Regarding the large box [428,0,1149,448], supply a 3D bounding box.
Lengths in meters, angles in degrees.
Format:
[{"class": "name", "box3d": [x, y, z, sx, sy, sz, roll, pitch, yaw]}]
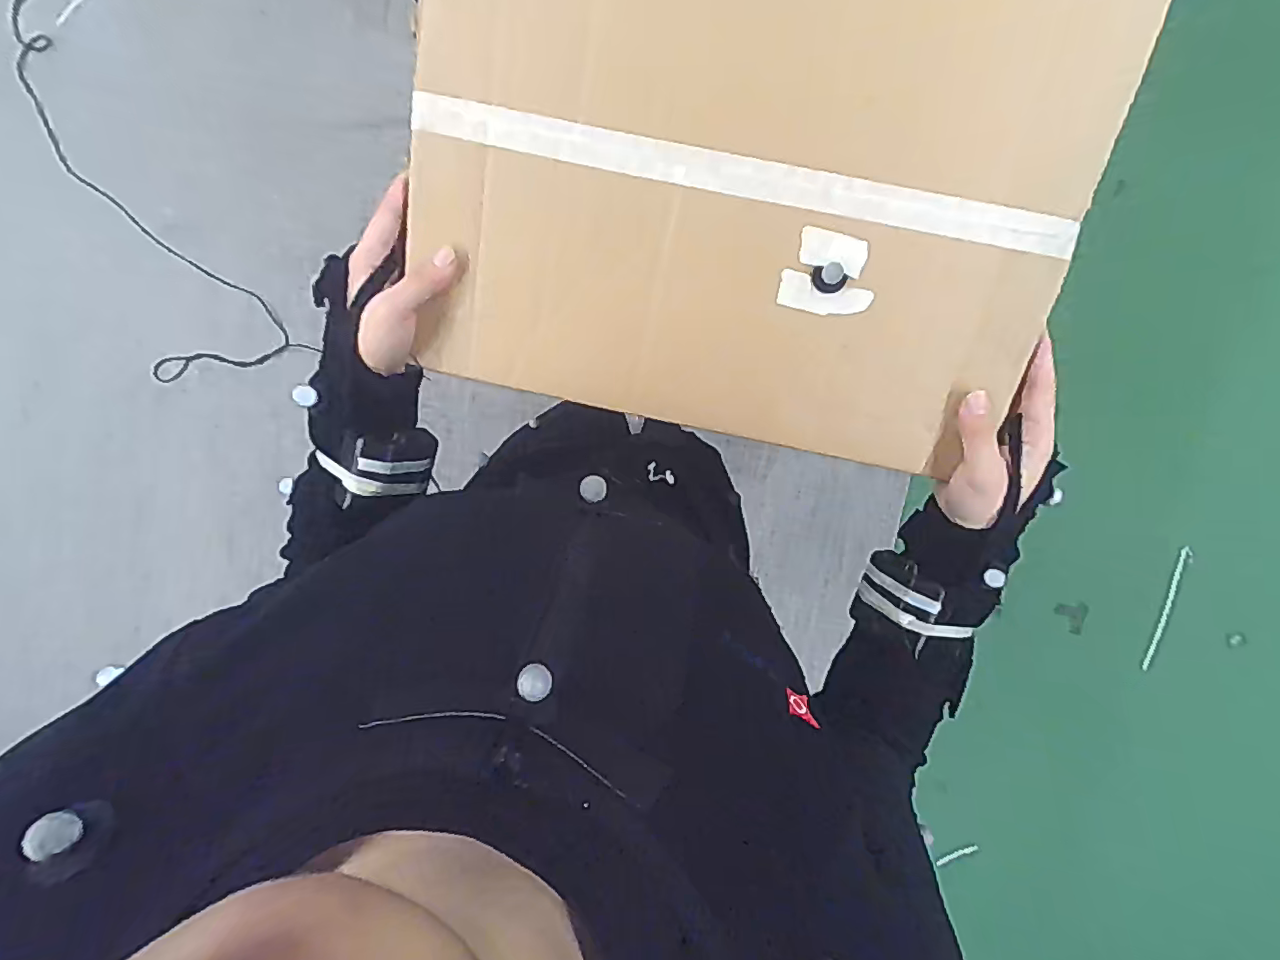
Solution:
[{"class": "large box", "box3d": [0.076, -0.243, 0.477, 0.408, 0.320, 0.320, 11, 109, 0]}]
